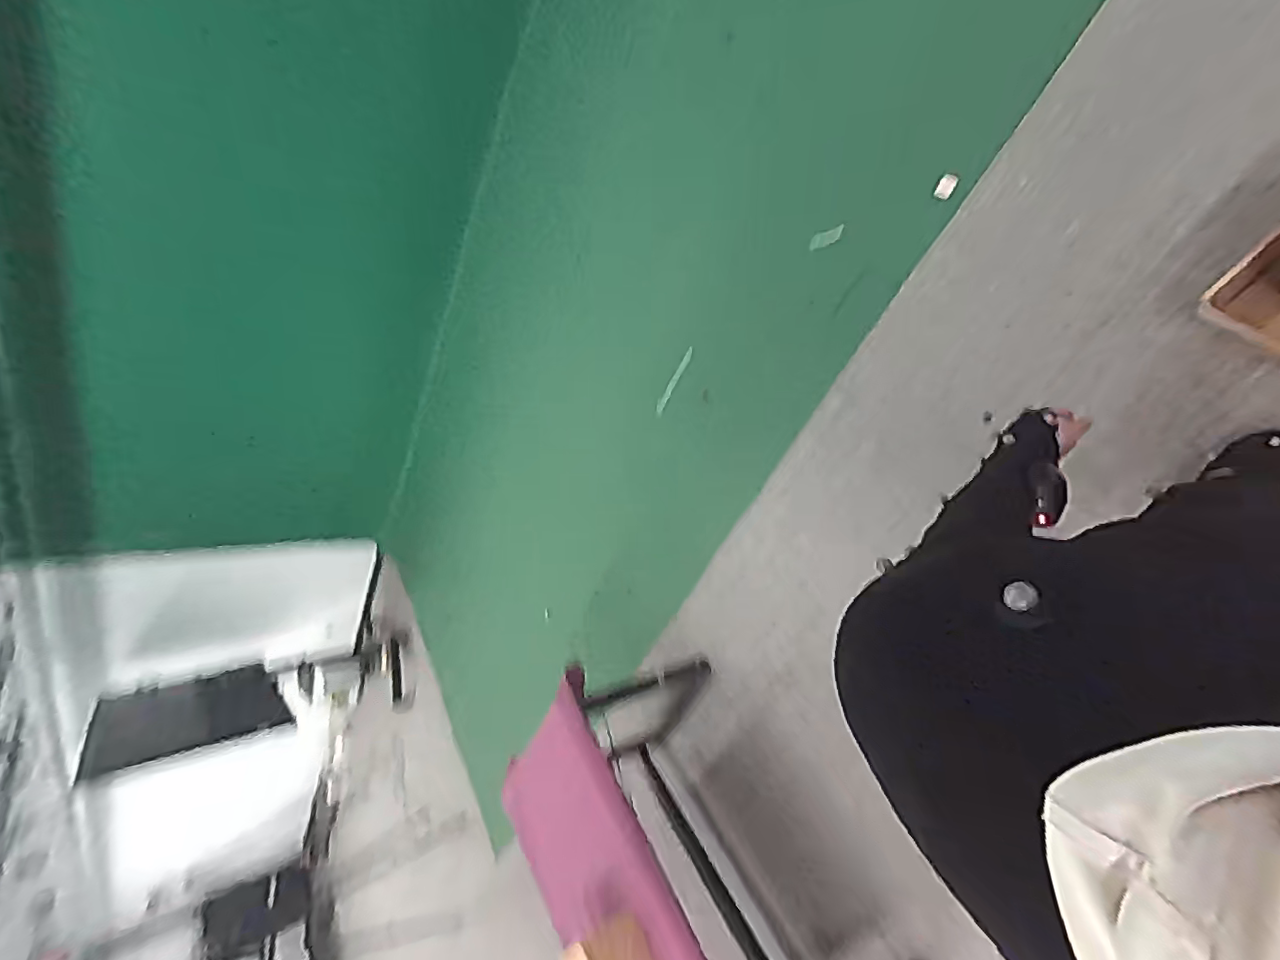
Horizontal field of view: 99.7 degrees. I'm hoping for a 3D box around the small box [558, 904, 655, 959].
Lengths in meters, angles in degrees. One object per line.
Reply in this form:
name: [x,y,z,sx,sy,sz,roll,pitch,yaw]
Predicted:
small box: [-0.087,1.274,1.422,0.168,0.176,0.179,49,125,36]
